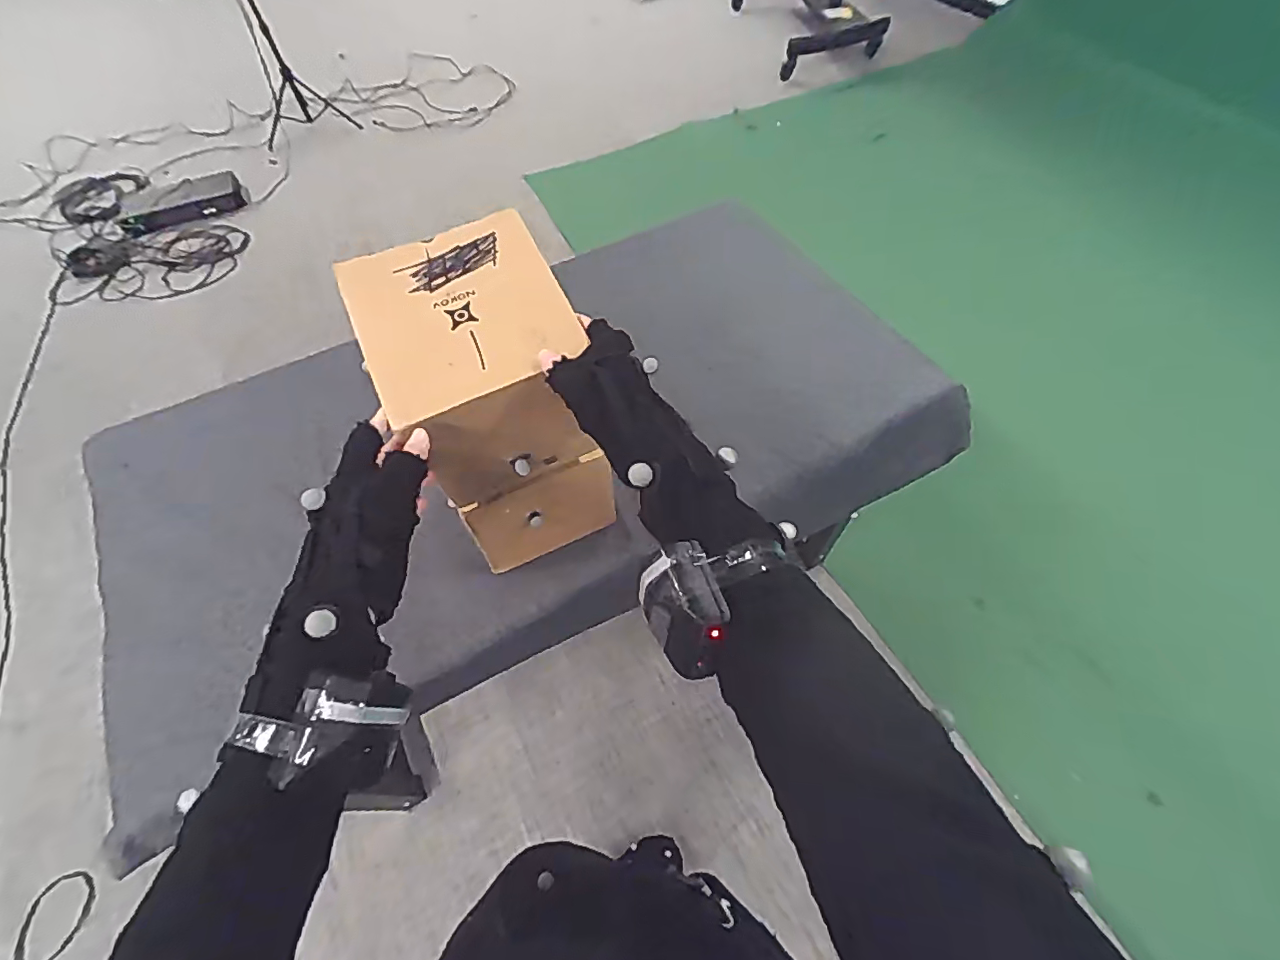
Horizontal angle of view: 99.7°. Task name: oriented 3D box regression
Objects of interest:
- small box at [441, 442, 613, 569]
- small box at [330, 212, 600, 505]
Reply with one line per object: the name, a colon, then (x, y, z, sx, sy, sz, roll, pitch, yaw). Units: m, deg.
small box: (-0.148, -0.012, 0.691, 0.179, 0.176, 0.168, -24, 60, -12)
small box: (-0.151, -0.106, 0.513, 0.168, 0.176, 0.179, -28, 68, -11)
